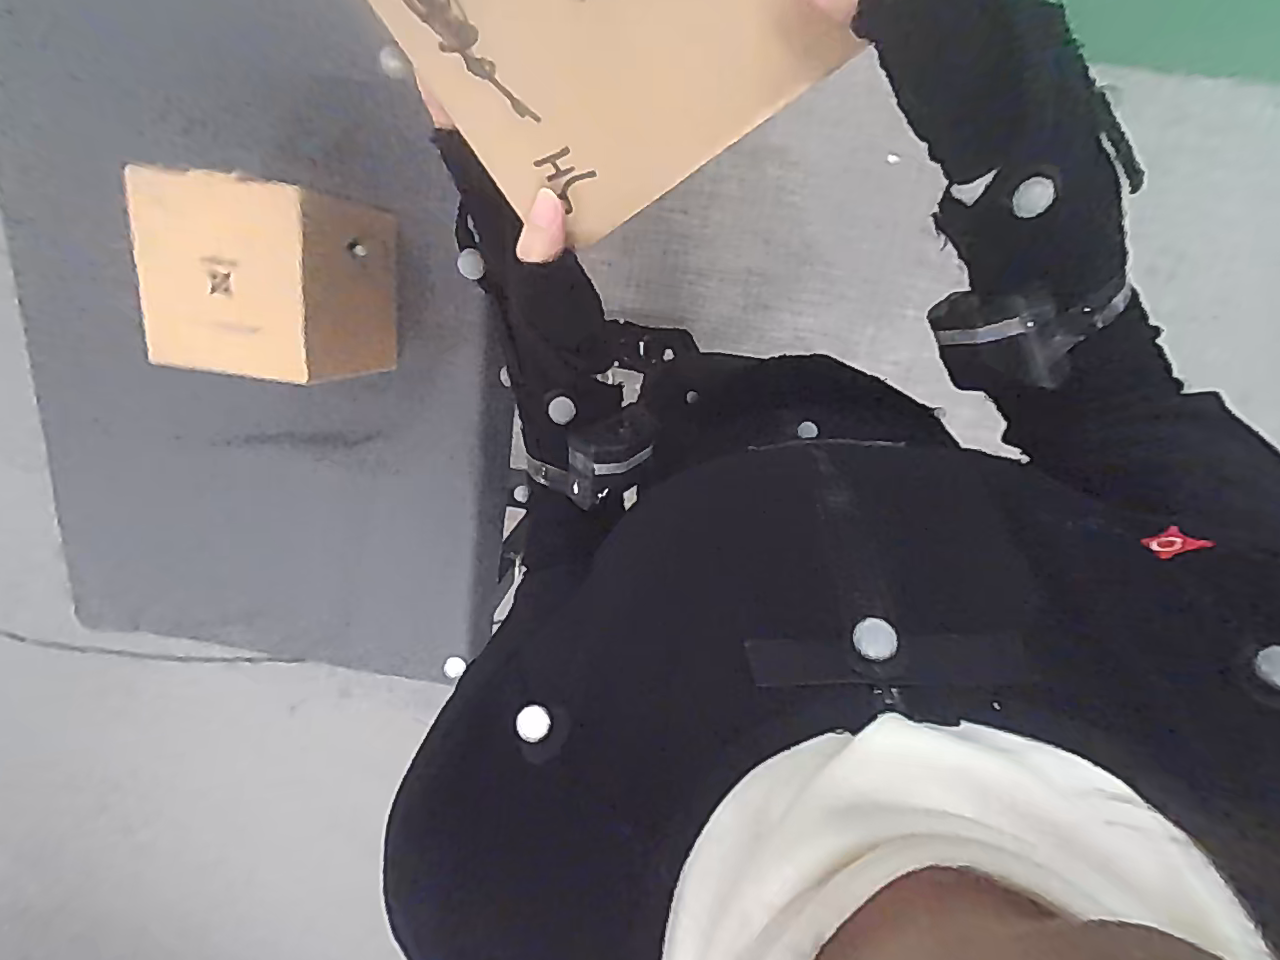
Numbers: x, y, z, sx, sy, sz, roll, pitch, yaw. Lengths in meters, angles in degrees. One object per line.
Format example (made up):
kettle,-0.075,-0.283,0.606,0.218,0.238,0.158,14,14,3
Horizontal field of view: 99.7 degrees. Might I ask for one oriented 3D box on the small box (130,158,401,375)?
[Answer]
small box,-0.377,-0.219,0.581,0.168,0.176,0.179,8,109,4
